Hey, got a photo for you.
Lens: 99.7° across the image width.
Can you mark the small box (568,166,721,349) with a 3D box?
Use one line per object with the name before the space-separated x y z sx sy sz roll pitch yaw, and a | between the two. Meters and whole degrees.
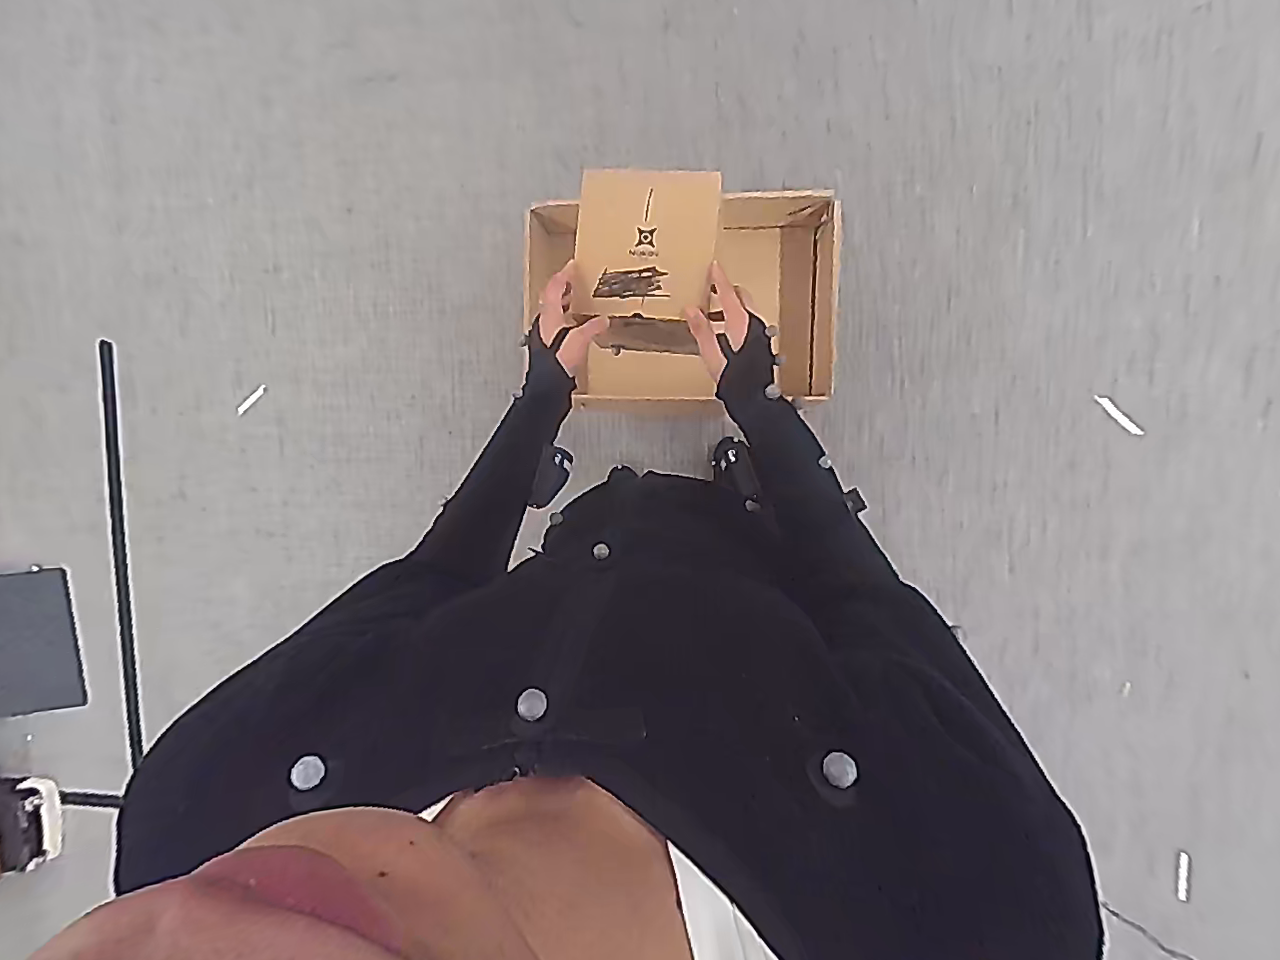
small box | 0.015 -0.276 0.705 0.168 0.176 0.179 6 91 8
